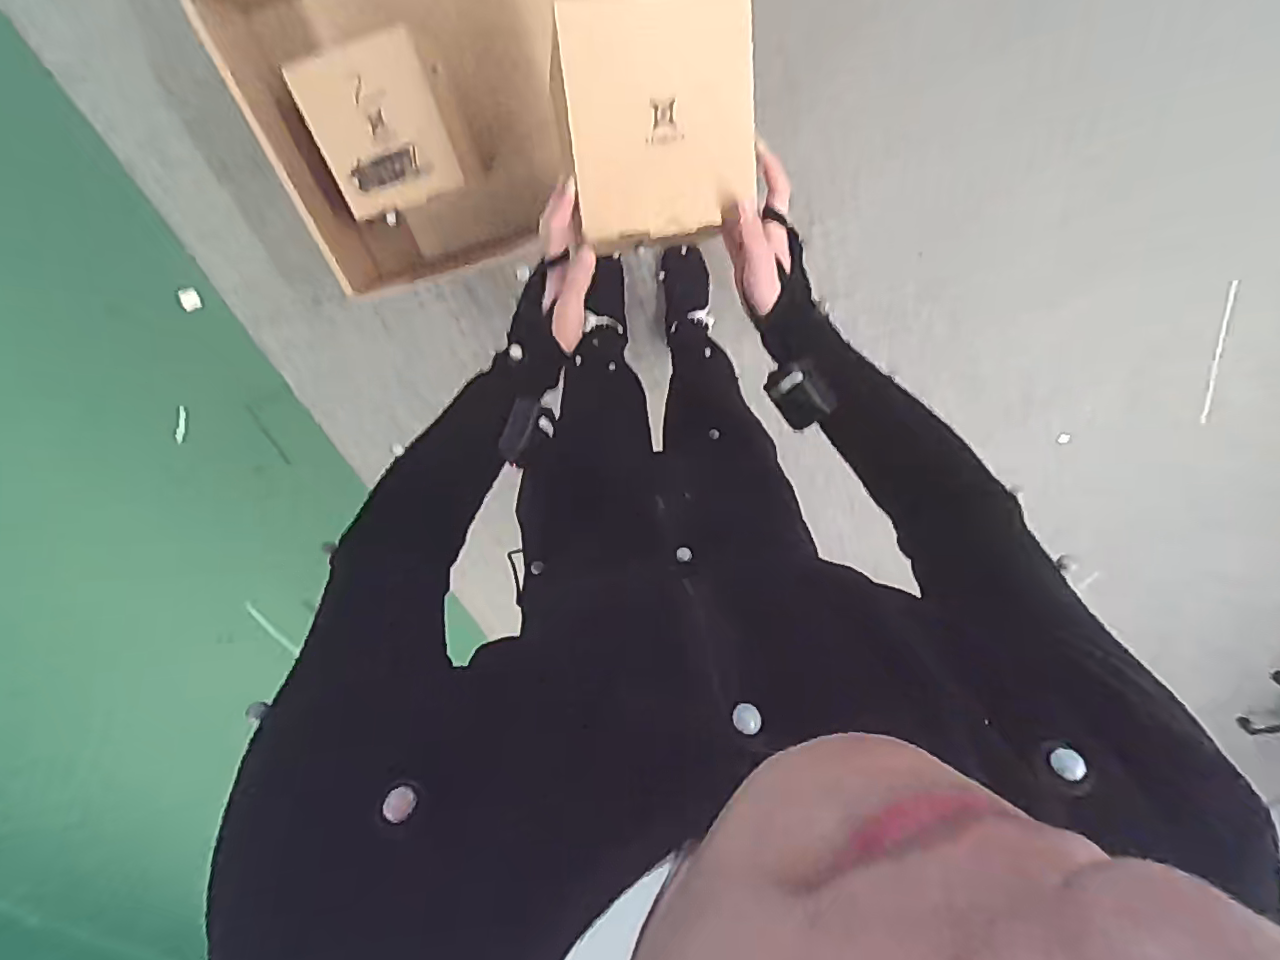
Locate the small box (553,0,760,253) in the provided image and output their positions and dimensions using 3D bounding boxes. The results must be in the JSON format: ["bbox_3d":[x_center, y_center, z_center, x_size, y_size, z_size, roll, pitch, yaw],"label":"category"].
[{"bbox_3d":[0.008,-0.330,0.533,0.168,0.176,0.179,-9,111,-7],"label":"small box"}]

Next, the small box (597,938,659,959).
[{"bbox_3d":[-0.033,1.625,1.749,0.168,0.176,0.179,-22,121,7],"label":"small box"}]
